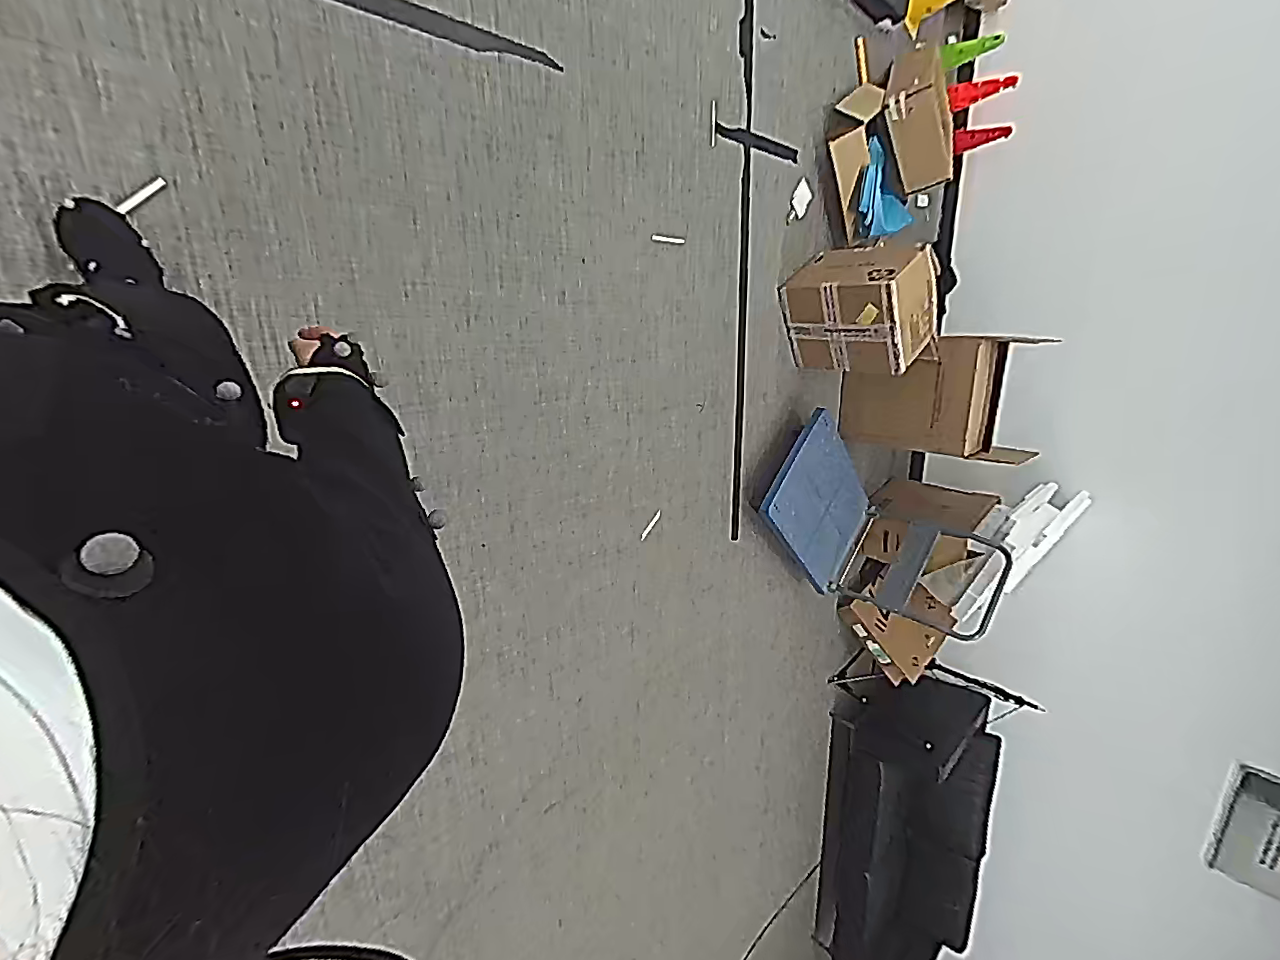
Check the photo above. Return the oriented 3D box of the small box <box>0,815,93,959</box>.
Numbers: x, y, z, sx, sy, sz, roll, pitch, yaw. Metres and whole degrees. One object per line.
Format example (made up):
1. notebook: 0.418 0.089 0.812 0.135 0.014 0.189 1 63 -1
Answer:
1. small box: -0.977 0.674 0.834 0.168 0.176 0.179 -12 108 -42
